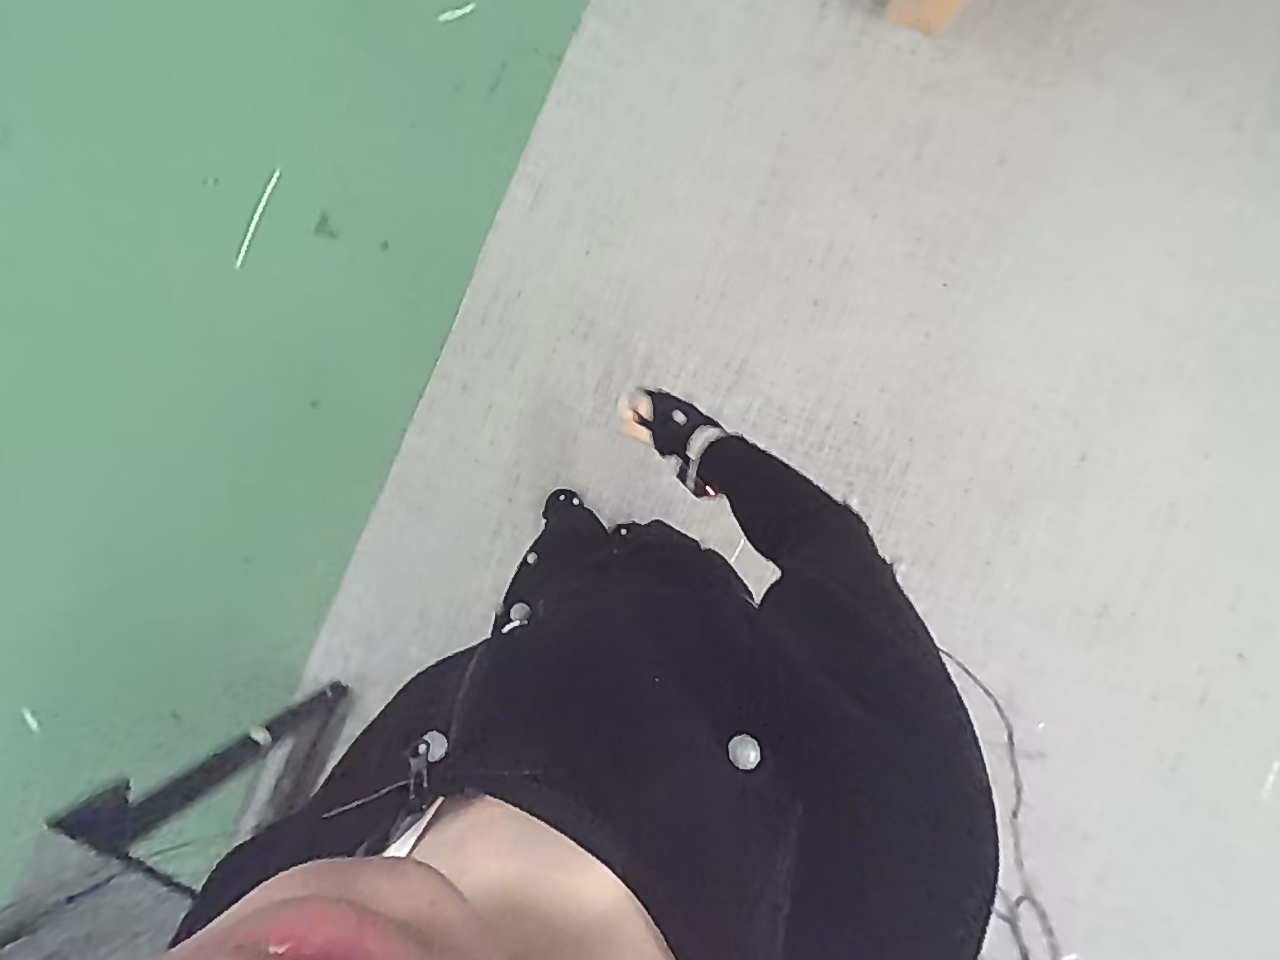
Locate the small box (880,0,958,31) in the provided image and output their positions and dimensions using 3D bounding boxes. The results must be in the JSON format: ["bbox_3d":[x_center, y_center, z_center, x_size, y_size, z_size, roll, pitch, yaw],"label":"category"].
[{"bbox_3d":[0.763,-1.329,1.407,0.179,0.176,0.168,19,91,3],"label":"small box"}]
